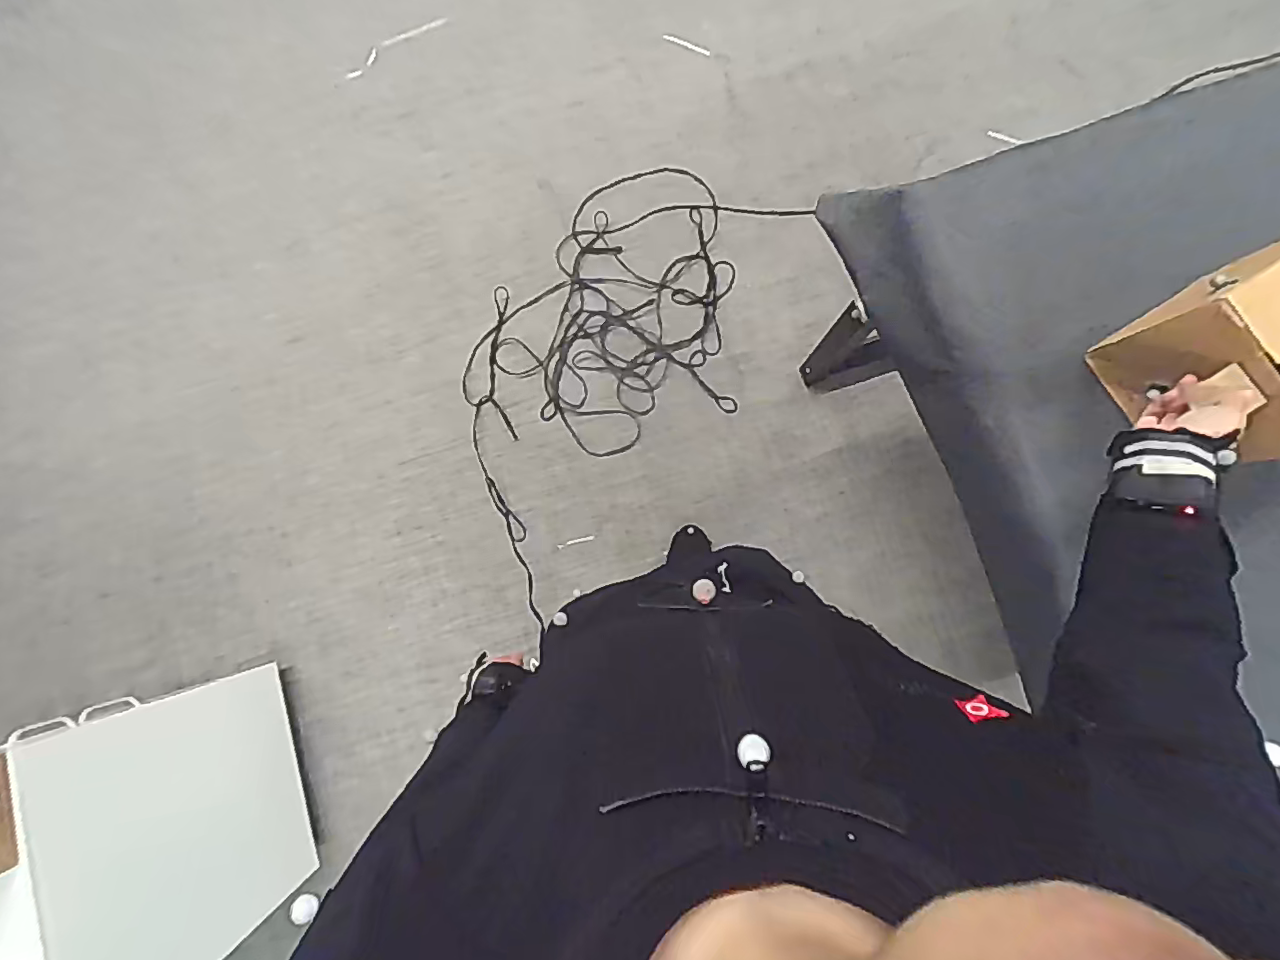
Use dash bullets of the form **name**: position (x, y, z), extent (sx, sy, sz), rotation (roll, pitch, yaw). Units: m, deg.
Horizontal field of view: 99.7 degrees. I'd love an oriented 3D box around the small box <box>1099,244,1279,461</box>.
- **small box**: position (0.641, -0.136, 0.549), extent (0.179, 0.176, 0.168), rotation (-33, 84, 0)
